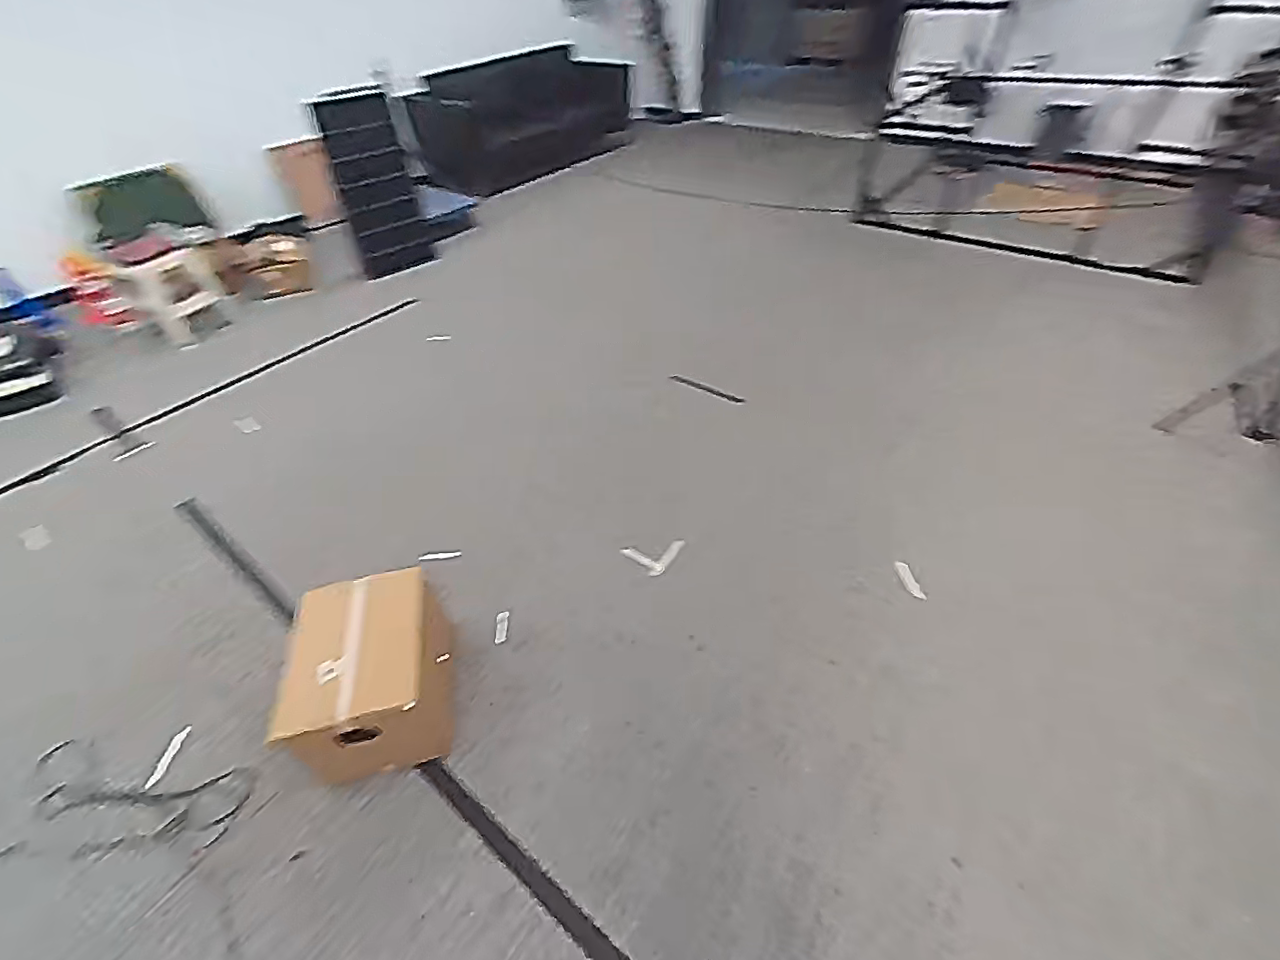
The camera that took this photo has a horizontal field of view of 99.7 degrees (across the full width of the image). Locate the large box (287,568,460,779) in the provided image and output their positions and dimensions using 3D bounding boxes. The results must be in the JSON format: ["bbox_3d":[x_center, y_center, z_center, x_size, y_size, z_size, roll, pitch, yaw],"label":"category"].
[{"bbox_3d":[-0.680,0.510,1.452,0.320,0.320,0.408,-12,46,-9],"label":"large box"}]
